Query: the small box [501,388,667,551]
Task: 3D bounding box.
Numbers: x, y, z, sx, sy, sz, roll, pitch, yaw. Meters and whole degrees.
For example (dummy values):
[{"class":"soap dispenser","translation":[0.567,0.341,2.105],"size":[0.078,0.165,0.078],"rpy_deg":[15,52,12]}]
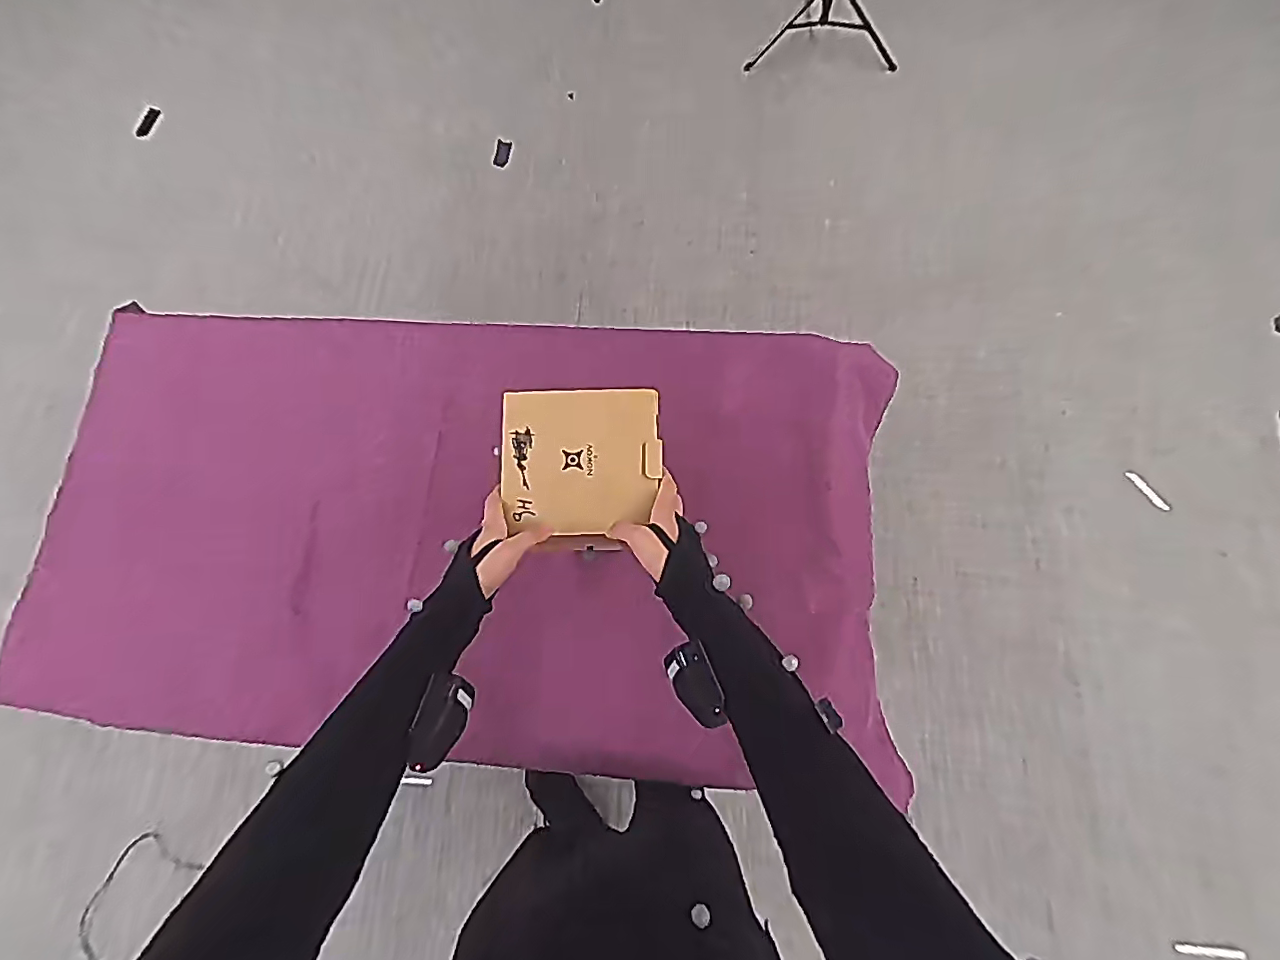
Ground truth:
[{"class":"small box","translation":[-0.063,-0.004,0.664],"size":[0.179,0.176,0.168],"rpy_deg":[-1,76,-2]}]
